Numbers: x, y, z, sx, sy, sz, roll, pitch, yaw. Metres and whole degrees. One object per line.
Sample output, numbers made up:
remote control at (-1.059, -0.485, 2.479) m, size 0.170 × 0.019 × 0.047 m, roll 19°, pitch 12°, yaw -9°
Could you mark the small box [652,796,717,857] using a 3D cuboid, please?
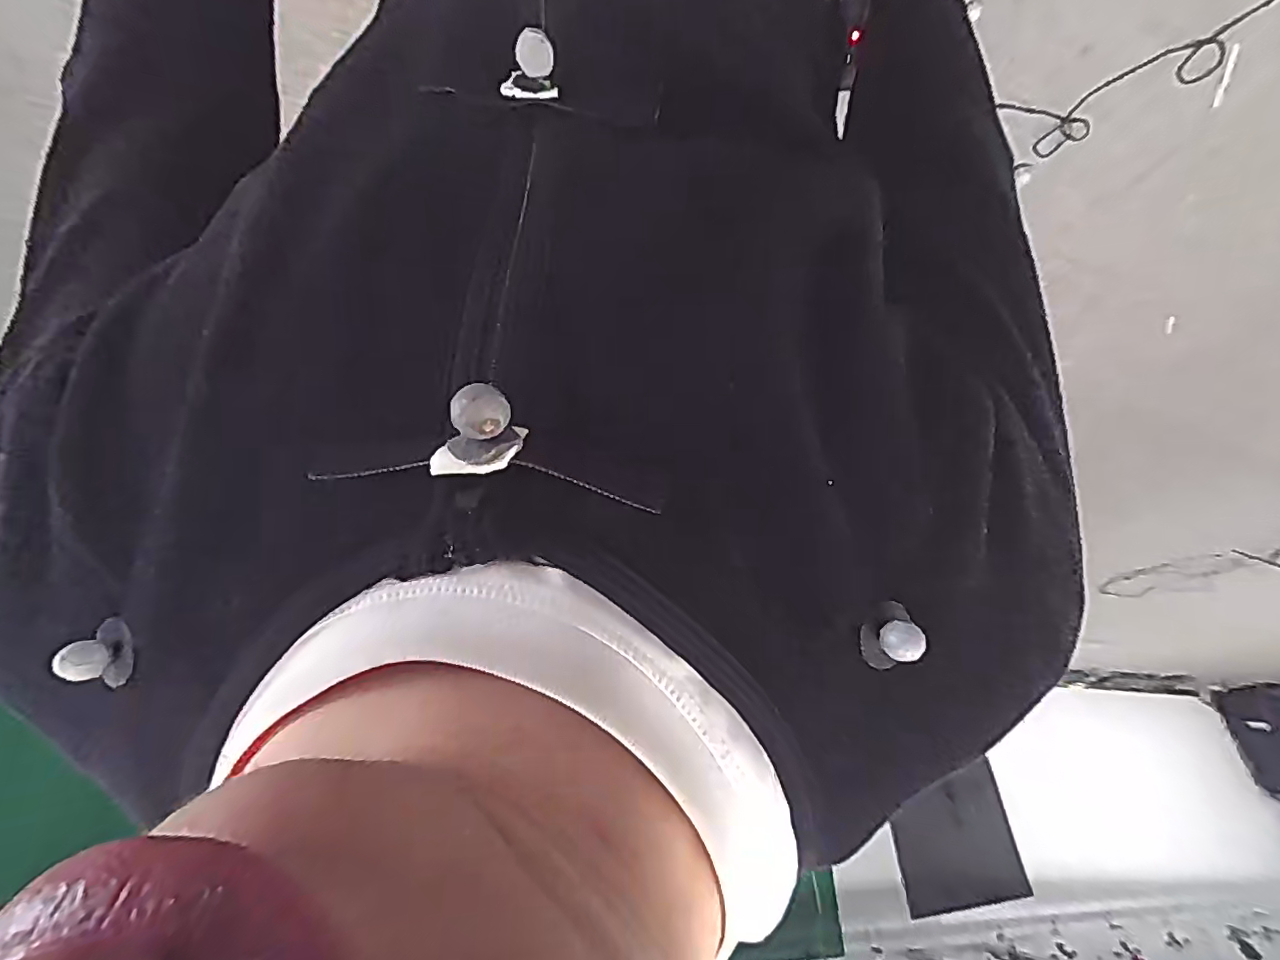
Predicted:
small box at (0.149, 1.190, 1.856) m, size 0.168 × 0.176 × 0.179 m, roll 12°, pitch 144°, yaw -20°
